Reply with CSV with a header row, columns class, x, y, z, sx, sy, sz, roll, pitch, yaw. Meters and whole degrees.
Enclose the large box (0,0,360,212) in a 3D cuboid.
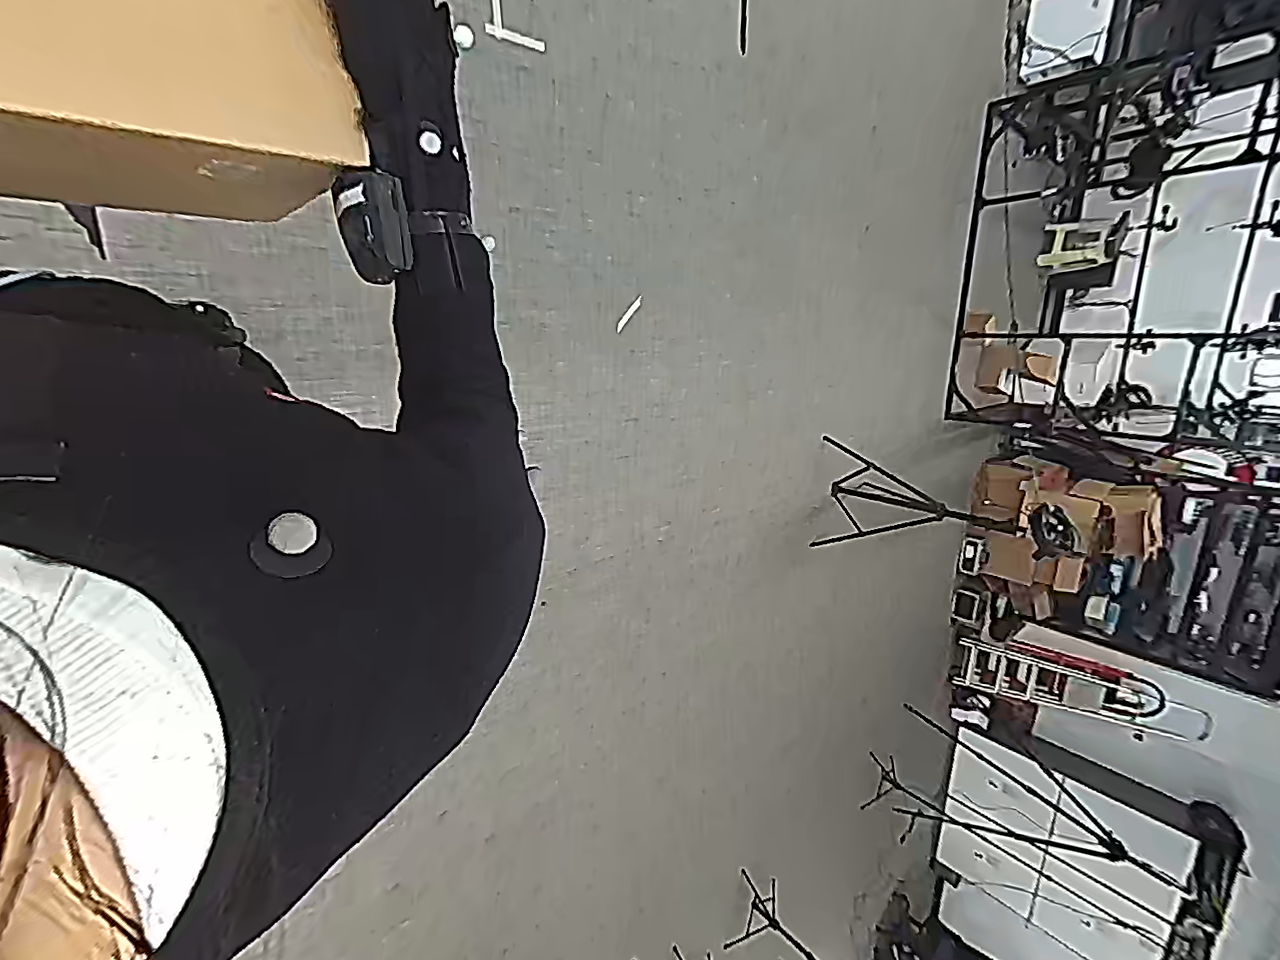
class,x,y,z,sx,sy,sz,roll,pitch,yaw
large box,-0.436,-0.351,0.294,0.408,0.320,0.320,-16,114,-41
